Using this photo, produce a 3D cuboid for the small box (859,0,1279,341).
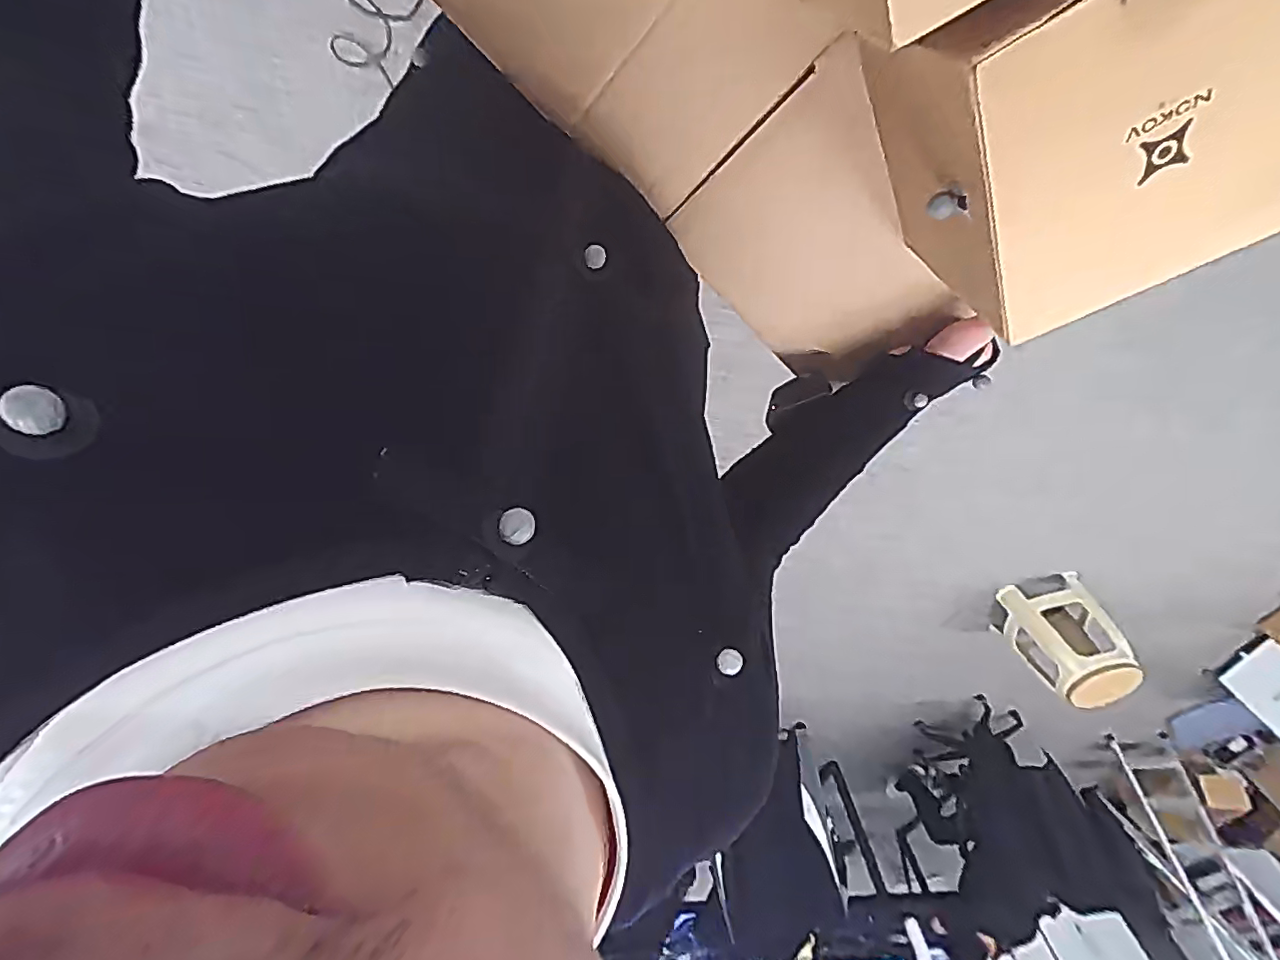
[{"bbox_3d":[0.266,-0.232,0.348,0.168,0.176,0.179,-25,130,19],"label":"small box"}]
